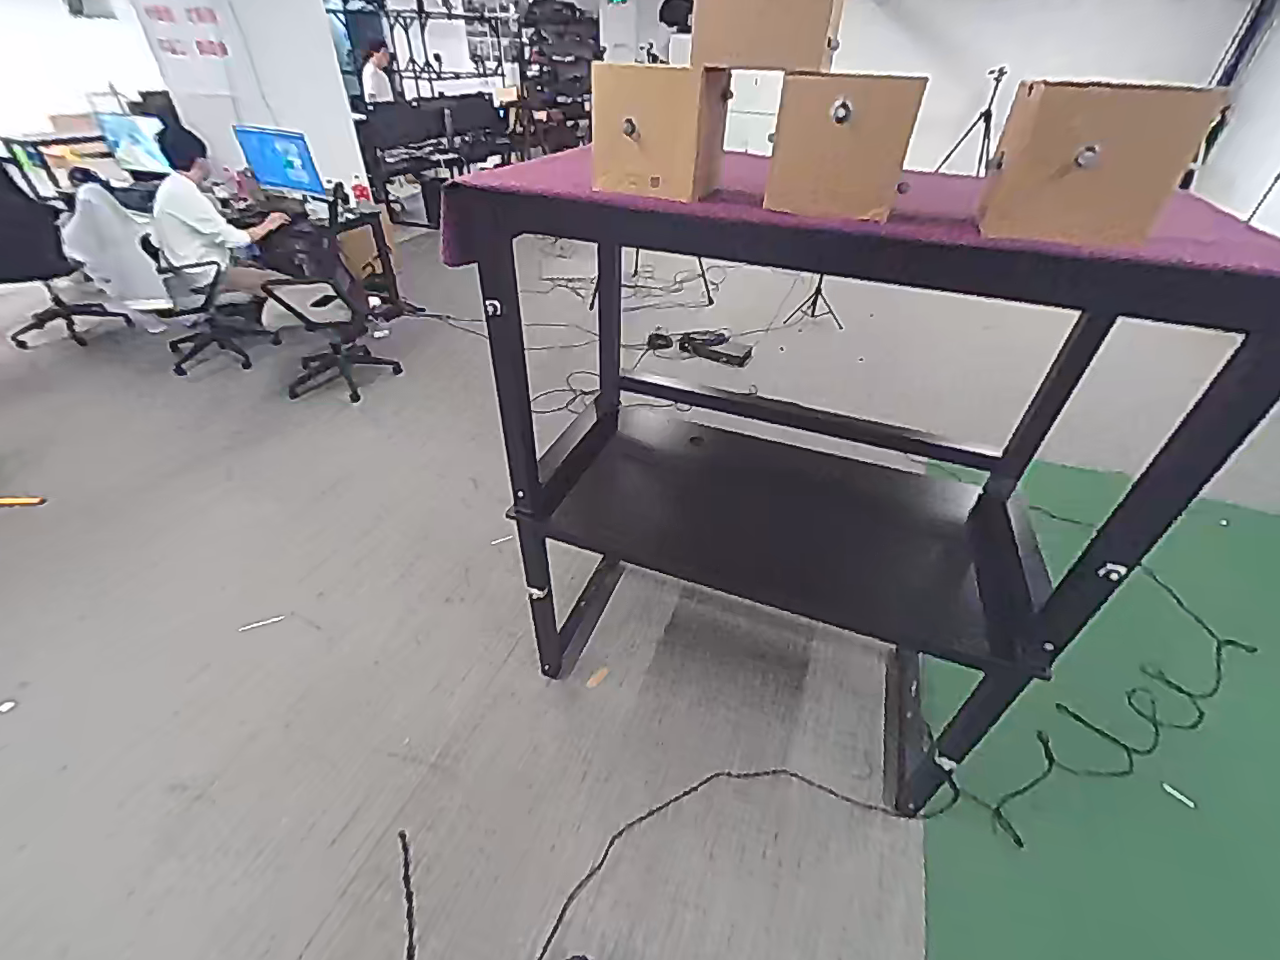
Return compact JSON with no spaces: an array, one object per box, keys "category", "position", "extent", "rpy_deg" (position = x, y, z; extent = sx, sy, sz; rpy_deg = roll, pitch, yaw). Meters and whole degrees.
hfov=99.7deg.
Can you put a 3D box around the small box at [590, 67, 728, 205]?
[{"category":"small box","position":[0.033,-0.543,0.852],"extent":[0.168,0.176,0.179],"rpy_deg":[14,38,15]}]

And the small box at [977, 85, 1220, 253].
[{"category":"small box","position":[0.560,-0.404,0.699],"extent":[0.179,0.176,0.168],"rpy_deg":[13,40,16]}]

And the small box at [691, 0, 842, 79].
[{"category":"small box","position":[0.176,-0.643,0.721],"extent":[0.179,0.176,0.168],"rpy_deg":[13,38,15]}]

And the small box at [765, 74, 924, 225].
[{"category":"small box","position":[0.289,-0.477,0.781],"extent":[0.179,0.176,0.168],"rpy_deg":[16,39,16]}]
